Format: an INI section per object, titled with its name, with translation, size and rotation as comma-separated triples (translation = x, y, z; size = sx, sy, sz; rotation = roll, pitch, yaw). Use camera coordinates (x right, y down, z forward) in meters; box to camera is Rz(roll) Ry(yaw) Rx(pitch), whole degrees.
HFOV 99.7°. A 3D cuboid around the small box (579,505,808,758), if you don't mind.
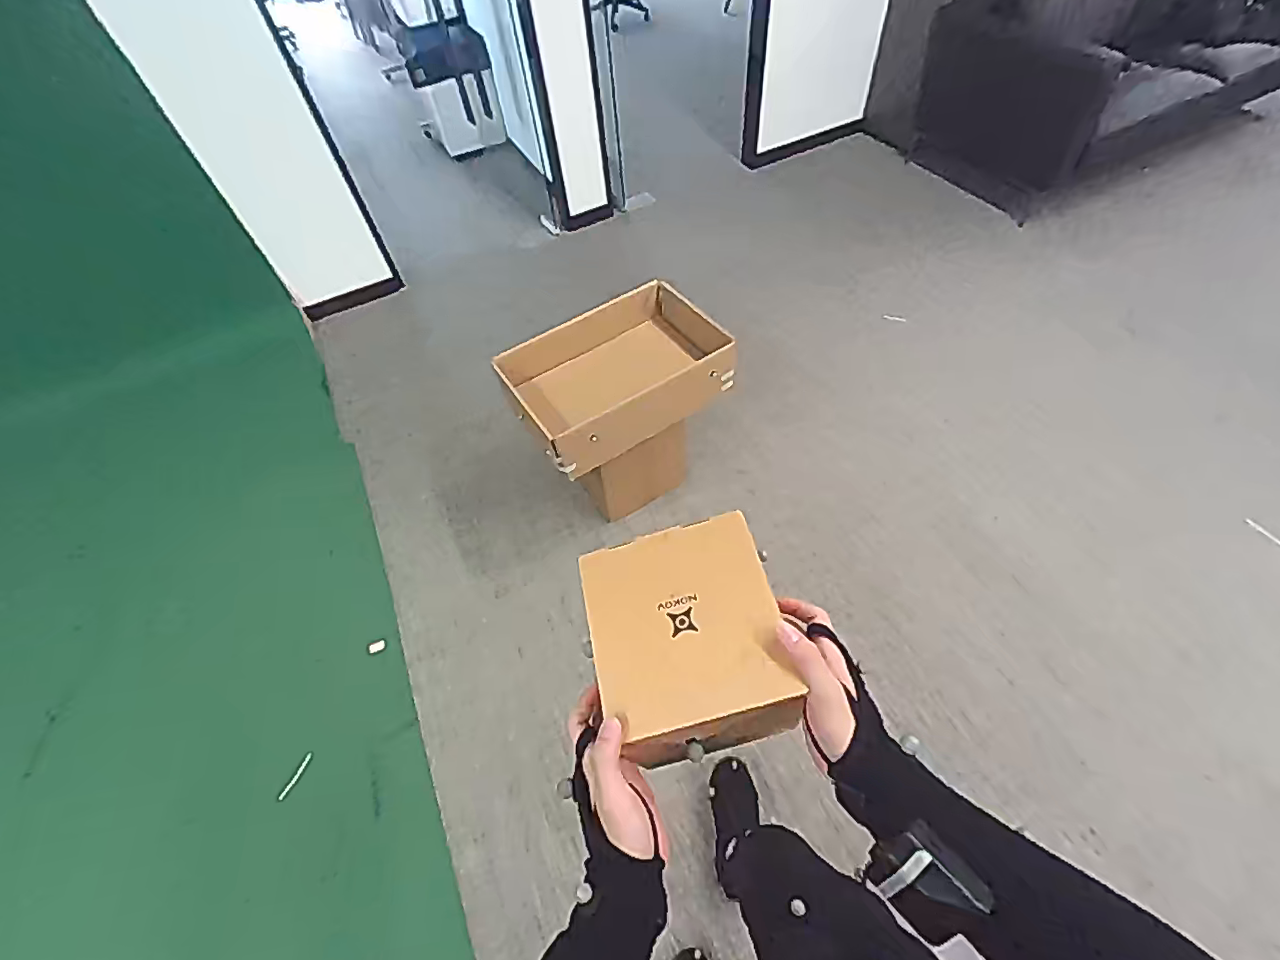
[small box]
translation = 0.052, 0.157, 0.527
size = 0.168, 0.176, 0.179
rotation = -16, 54, 2
